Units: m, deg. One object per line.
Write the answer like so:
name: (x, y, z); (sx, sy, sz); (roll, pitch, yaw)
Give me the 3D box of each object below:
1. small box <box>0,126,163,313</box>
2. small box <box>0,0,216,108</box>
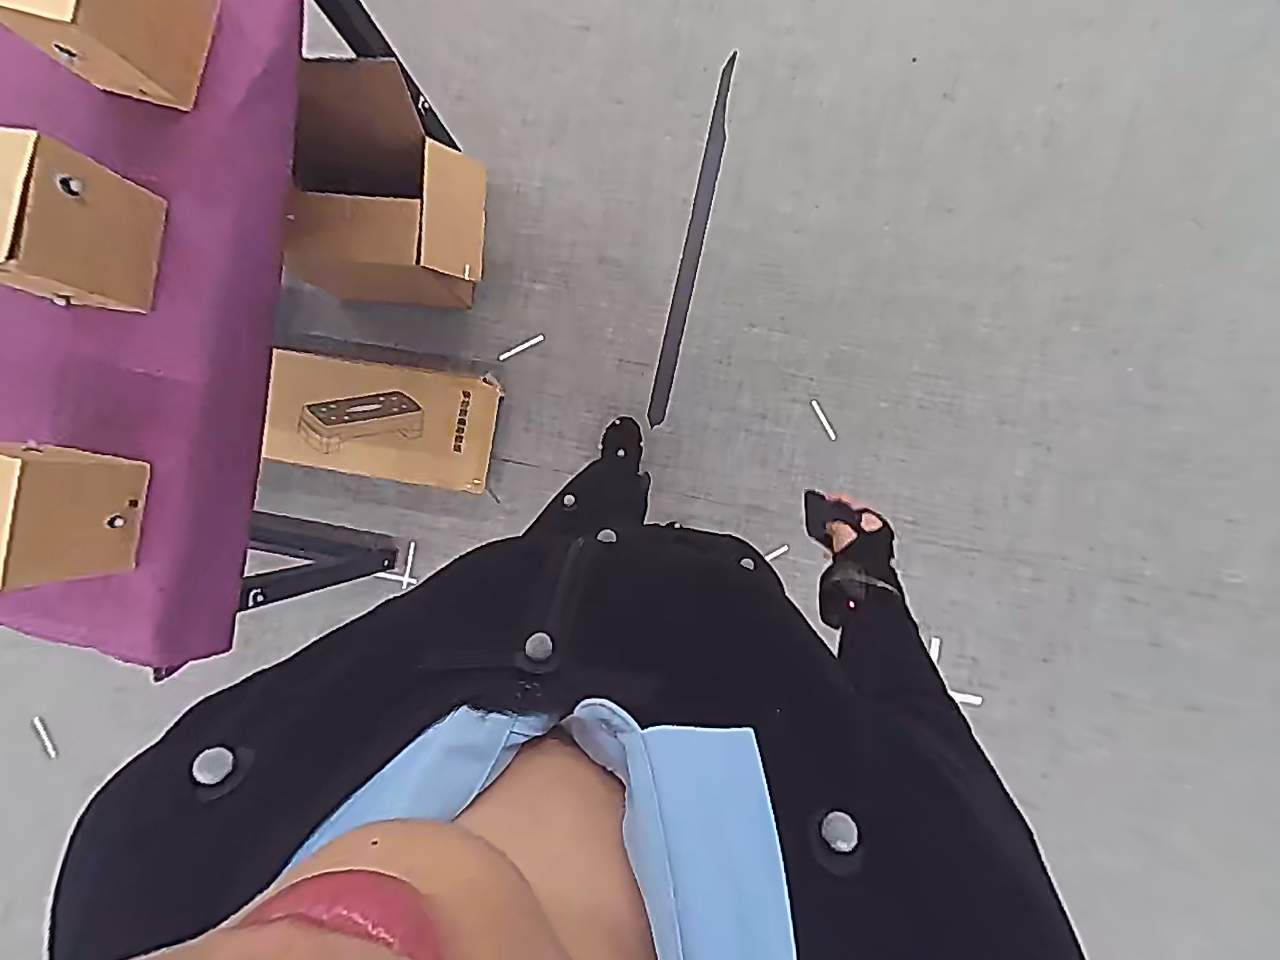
small box: (-0.814, -0.350, 0.743); (0.168, 0.176, 0.179); (9, 90, 7)
small box: (-0.738, -0.660, 0.743); (0.168, 0.176, 0.179); (16, 90, 4)
